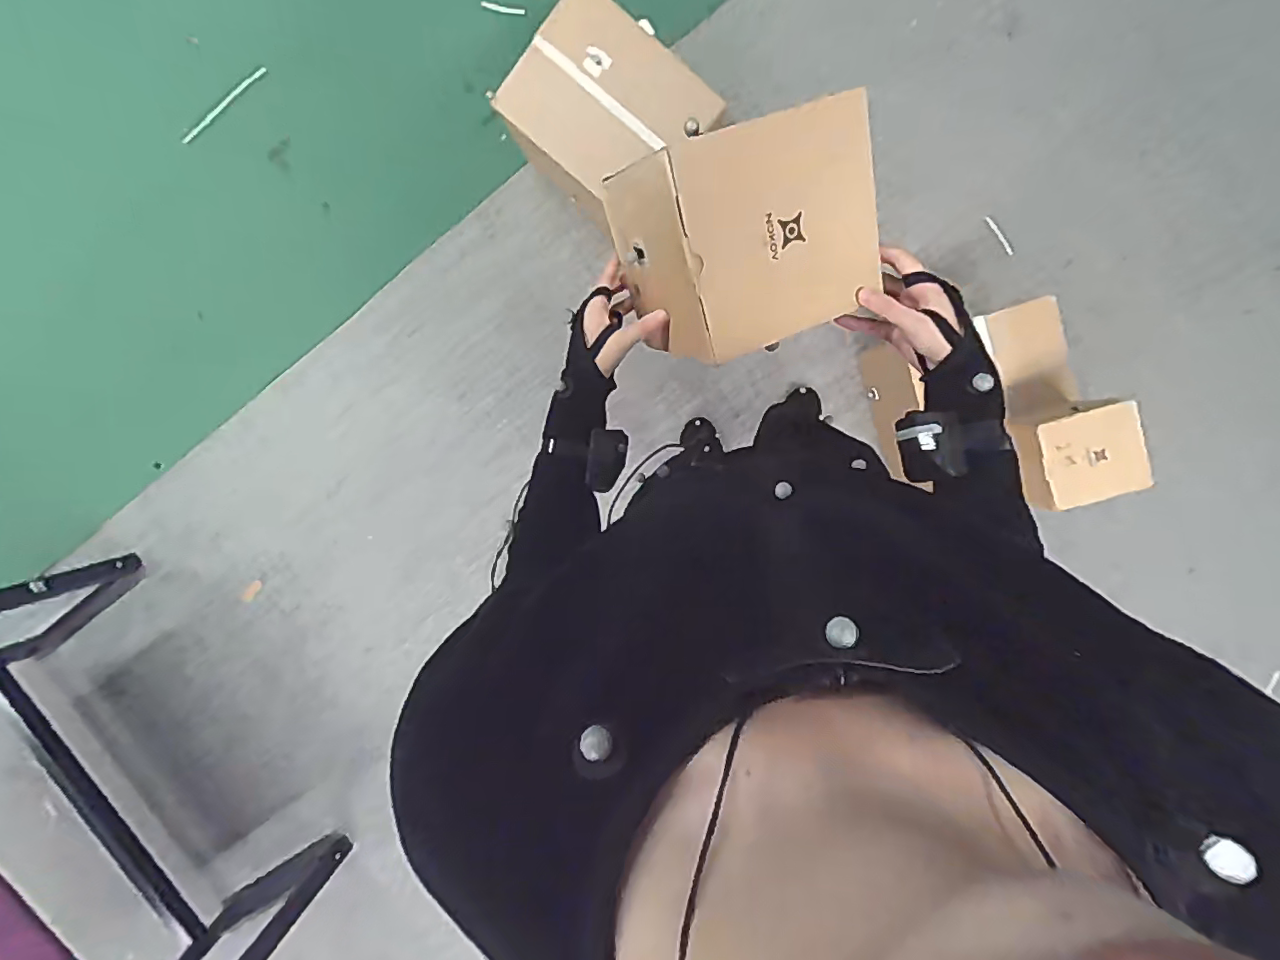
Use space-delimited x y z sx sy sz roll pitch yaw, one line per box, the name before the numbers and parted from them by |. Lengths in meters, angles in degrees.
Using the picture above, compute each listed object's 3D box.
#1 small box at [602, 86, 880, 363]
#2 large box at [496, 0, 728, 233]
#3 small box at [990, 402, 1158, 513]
small box | 0.087 -0.226 0.500 0.179 0.176 0.168 -24 115 -10
large box | -0.045 -0.795 1.274 0.408 0.320 0.320 41 98 0
small box | 0.821 -0.049 1.039 0.179 0.176 0.168 -16 95 6
